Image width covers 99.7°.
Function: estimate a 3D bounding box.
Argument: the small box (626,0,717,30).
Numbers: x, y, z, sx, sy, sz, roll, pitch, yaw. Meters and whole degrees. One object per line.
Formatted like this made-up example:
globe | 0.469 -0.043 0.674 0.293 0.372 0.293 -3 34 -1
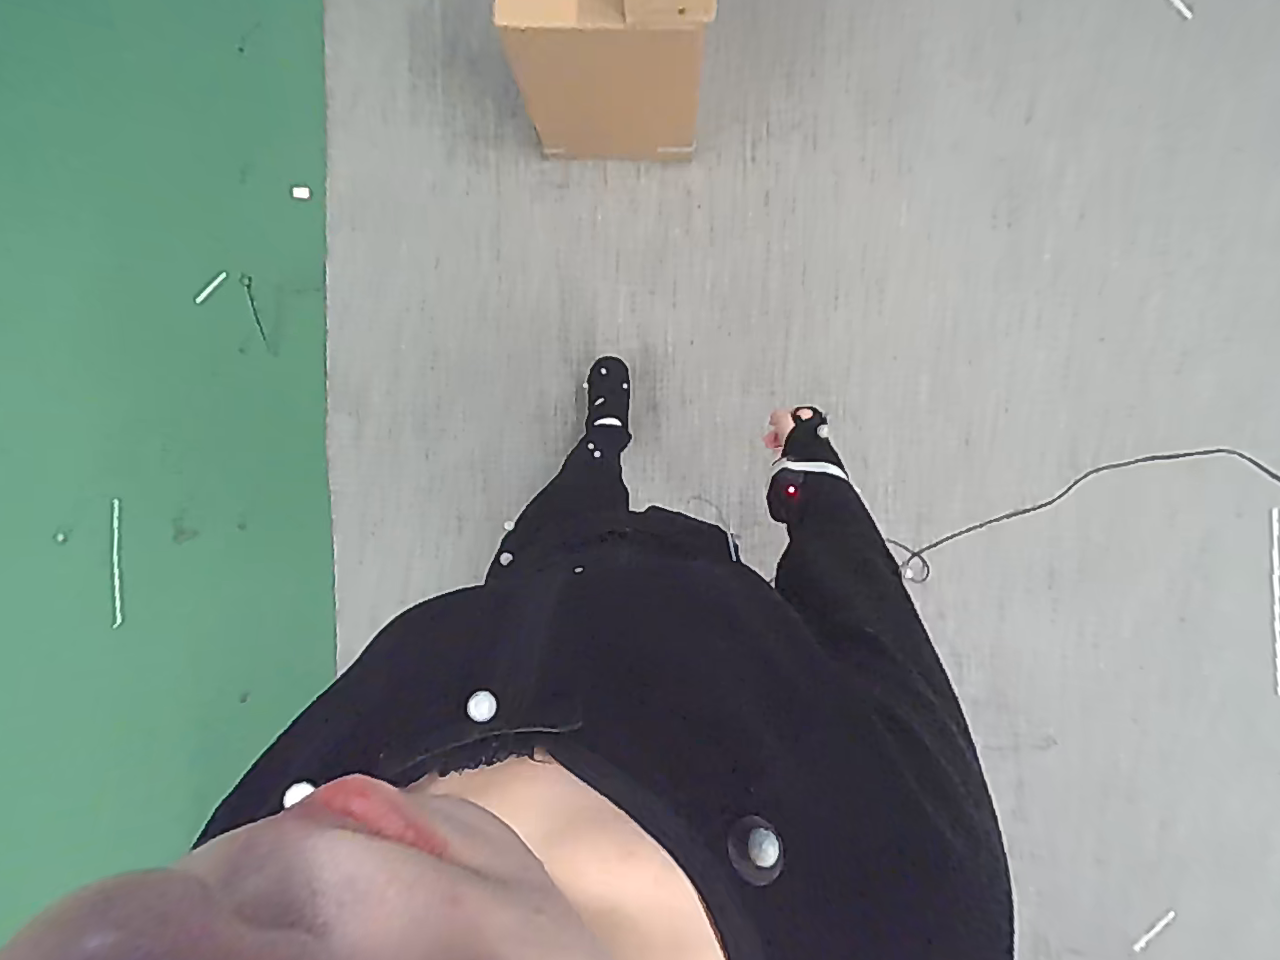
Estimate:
small box | 0.057 -0.929 0.938 0.168 0.176 0.179 2 90 3
